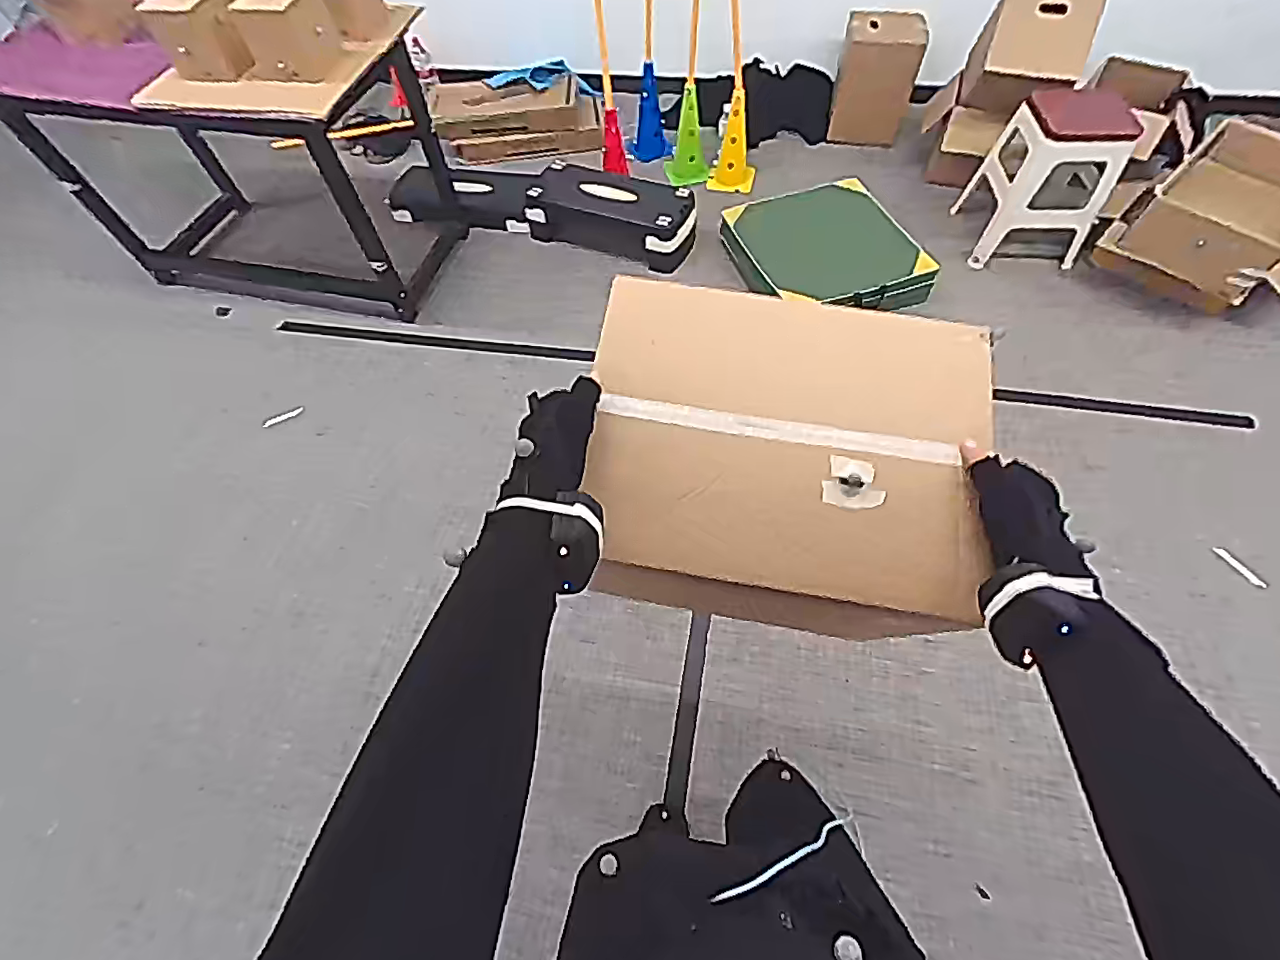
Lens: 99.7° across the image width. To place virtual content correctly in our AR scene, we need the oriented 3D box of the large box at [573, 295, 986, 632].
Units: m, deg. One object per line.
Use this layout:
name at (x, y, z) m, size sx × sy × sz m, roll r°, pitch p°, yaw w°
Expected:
large box at (0.150, 0.005, 0.700) m, size 0.408 × 0.320 × 0.320 m, roll 9°, pitch 73°, yaw 3°
